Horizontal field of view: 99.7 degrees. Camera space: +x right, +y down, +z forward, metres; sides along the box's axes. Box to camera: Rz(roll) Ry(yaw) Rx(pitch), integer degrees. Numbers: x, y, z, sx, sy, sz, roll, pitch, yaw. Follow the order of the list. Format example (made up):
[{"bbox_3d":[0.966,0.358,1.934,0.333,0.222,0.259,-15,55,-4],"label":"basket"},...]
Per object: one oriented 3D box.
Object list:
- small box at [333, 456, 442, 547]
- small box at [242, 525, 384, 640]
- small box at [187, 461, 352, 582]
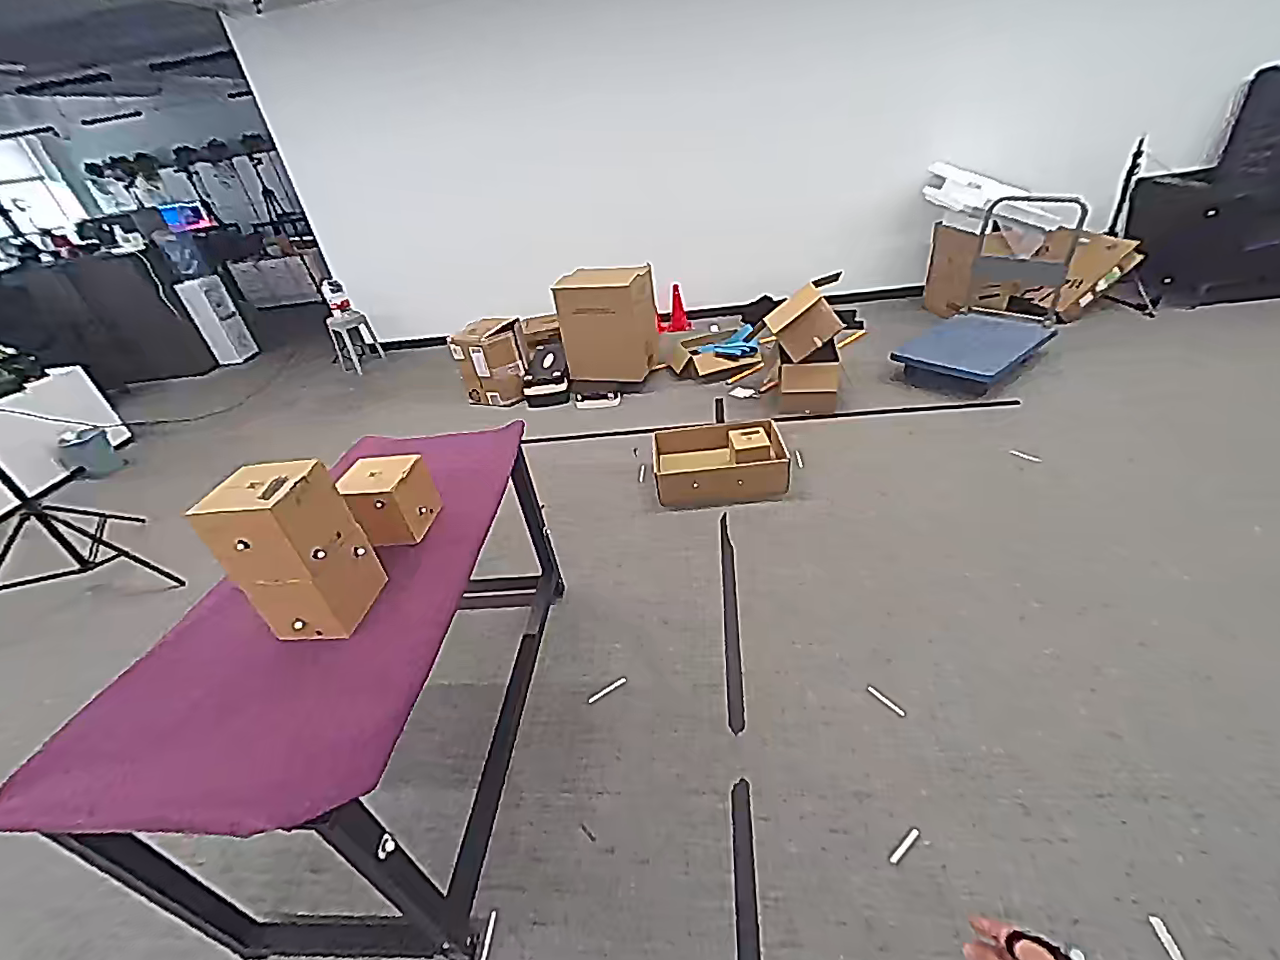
[{"bbox_3d":[-0.640,0.056,1.378,0.179,0.176,0.168,-4,34,9],"label":"small box"},{"bbox_3d":[-0.677,0.217,1.149,0.168,0.176,0.179,-4,34,9],"label":"small box"},{"bbox_3d":[-0.707,0.082,1.059,0.179,0.176,0.168,-5,34,8],"label":"small box"}]
